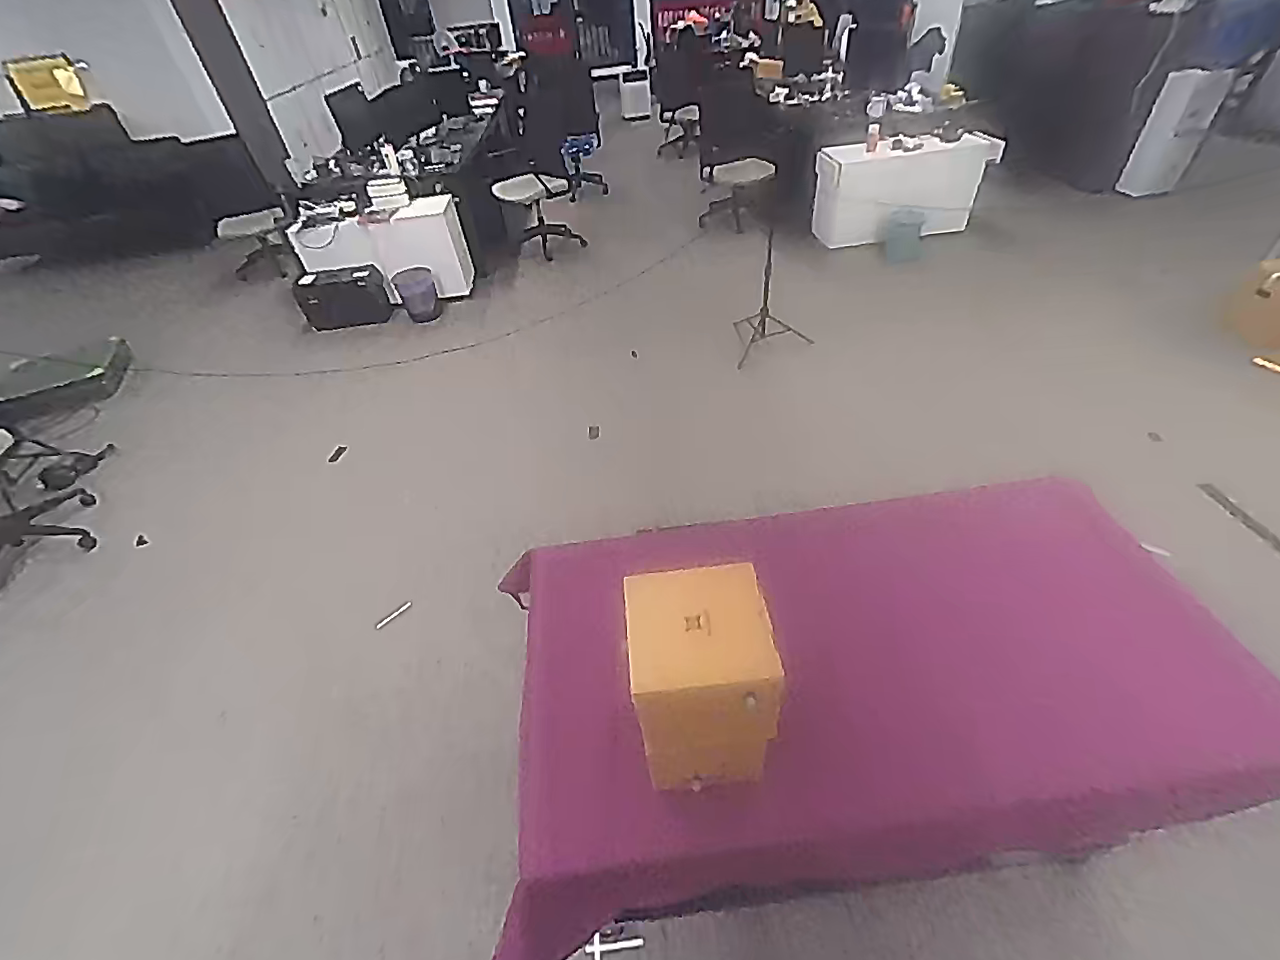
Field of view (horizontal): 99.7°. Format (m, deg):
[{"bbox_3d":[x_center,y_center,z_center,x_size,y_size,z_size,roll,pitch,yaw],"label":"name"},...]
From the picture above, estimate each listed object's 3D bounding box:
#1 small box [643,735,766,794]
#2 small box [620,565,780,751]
[{"bbox_3d":[0.086,0.348,0.822,0.168,0.176,0.179,-8,44,1],"label":"small box"},{"bbox_3d":[0.074,0.235,0.706,0.179,0.176,0.168,-7,43,1],"label":"small box"}]
